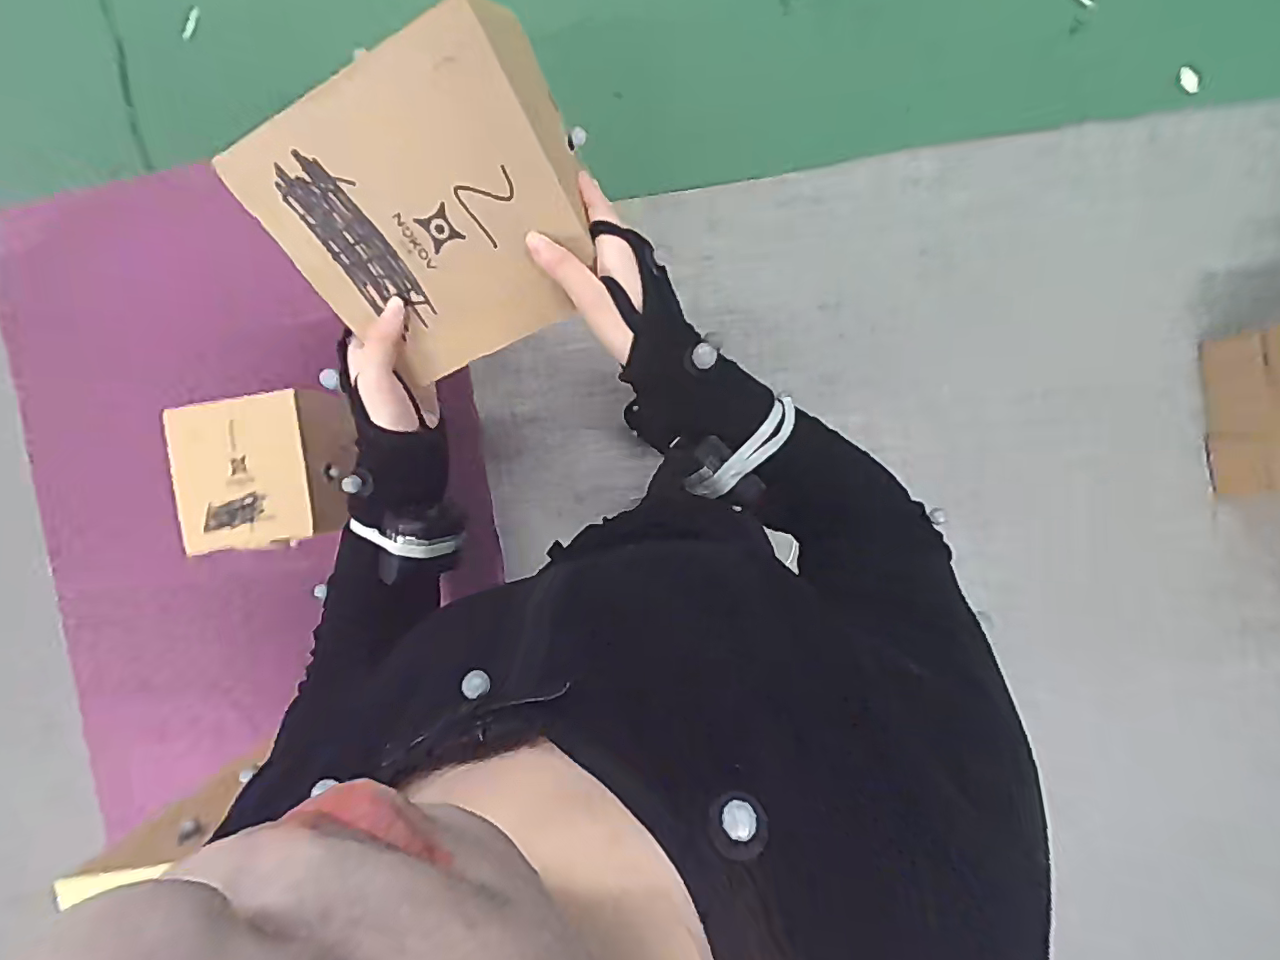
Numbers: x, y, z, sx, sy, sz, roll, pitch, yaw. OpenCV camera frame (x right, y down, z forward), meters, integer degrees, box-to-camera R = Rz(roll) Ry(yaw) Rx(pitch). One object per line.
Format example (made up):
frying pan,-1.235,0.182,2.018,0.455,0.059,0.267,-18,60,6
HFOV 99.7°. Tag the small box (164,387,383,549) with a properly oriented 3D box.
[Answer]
small box,-0.466,-0.016,0.716,0.168,0.176,0.179,-8,91,4

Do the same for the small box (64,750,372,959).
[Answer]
small box,-0.418,0.411,0.563,0.179,0.176,0.168,-11,91,3
